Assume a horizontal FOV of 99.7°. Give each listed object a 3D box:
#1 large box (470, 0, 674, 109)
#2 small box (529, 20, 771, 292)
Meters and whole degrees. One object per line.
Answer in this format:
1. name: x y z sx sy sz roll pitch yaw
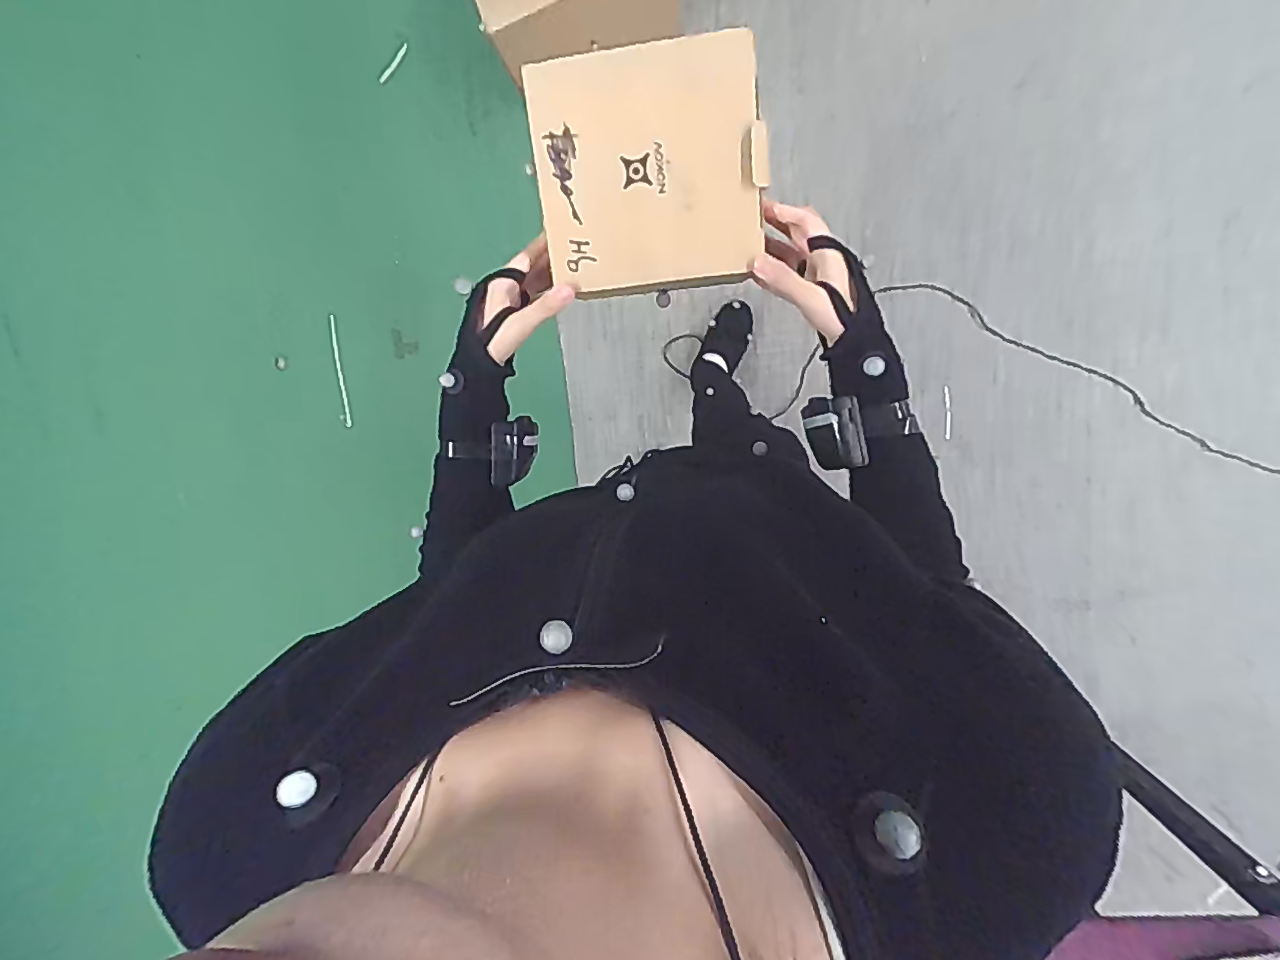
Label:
1. large box: -0.167 -1.131 1.197 0.408 0.320 0.320 -19 95 9
2. small box: 0.013 -0.266 0.486 0.179 0.176 0.168 -5 106 3
